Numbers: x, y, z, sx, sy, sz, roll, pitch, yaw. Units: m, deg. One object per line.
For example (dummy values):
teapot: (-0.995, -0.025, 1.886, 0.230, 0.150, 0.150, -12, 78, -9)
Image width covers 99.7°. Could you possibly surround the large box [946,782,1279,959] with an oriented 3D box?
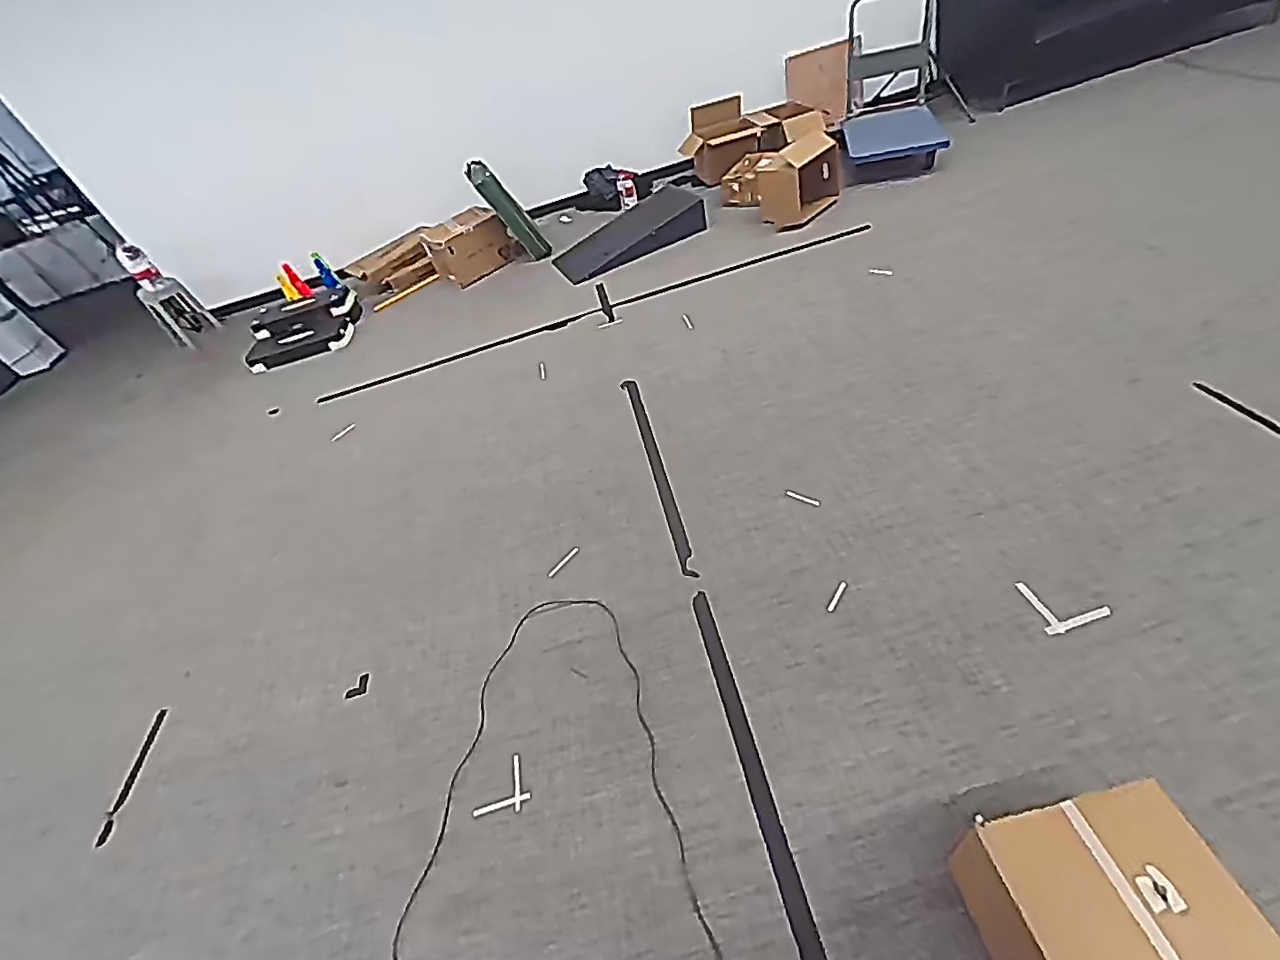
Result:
large box: (0.786, 0.796, 0.890, 0.320, 0.320, 0.408, -15, 43, 1)
